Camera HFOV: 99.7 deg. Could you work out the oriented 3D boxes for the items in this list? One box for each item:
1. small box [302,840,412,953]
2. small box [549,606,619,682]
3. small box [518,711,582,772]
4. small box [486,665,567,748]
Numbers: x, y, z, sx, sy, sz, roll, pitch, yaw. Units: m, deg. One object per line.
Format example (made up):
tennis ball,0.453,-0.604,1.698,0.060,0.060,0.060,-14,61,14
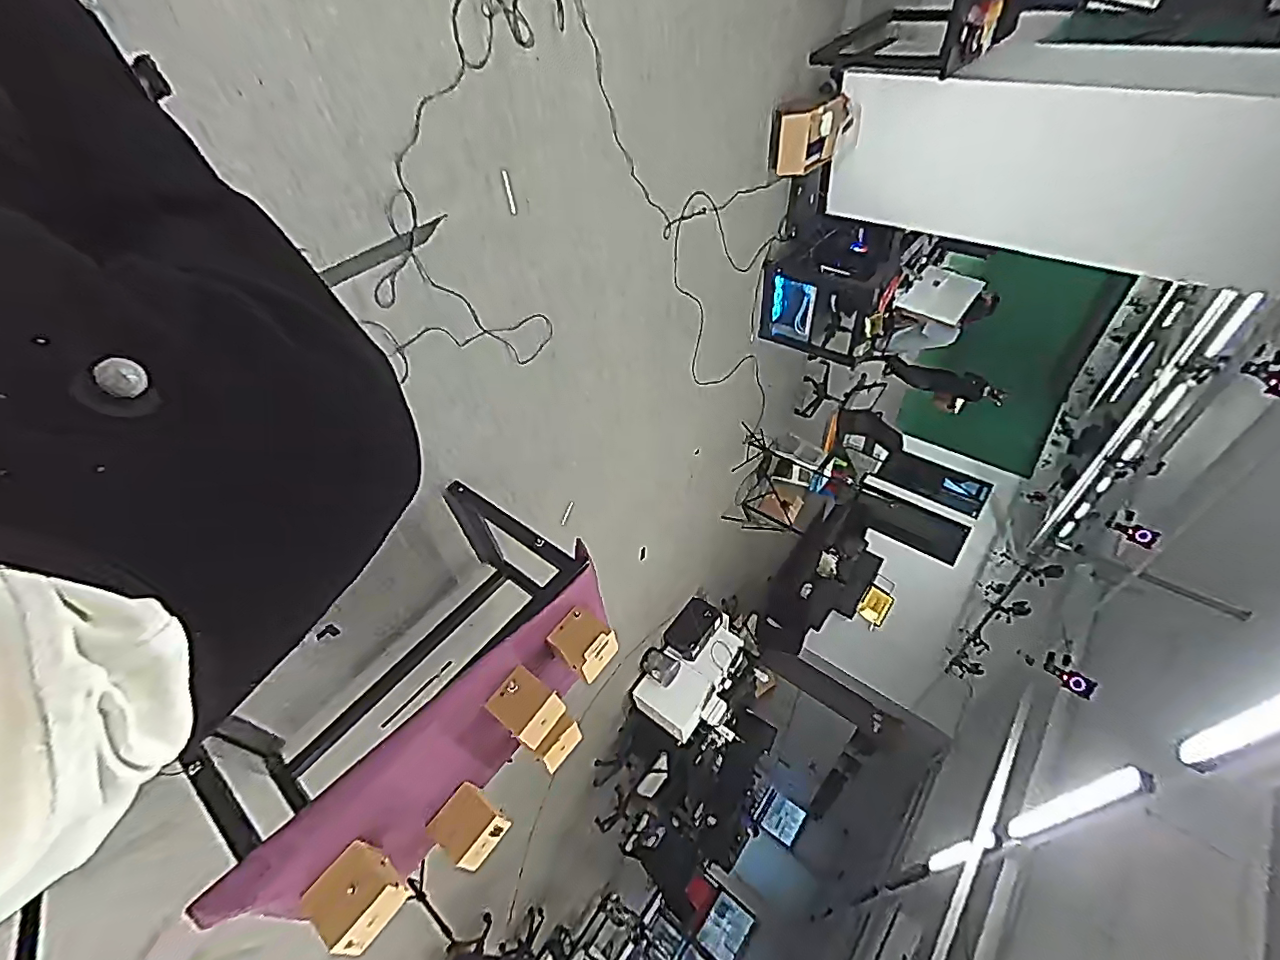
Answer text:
small box,-0.766,1.127,1.469,0.179,0.176,0.168,-45,147,-31
small box,-0.199,0.575,1.915,0.168,0.176,0.179,-45,149,-27
small box,-0.338,0.929,1.995,0.168,0.176,0.179,-43,146,-30
small box,-0.372,0.743,1.784,0.168,0.176,0.179,-48,149,-25
